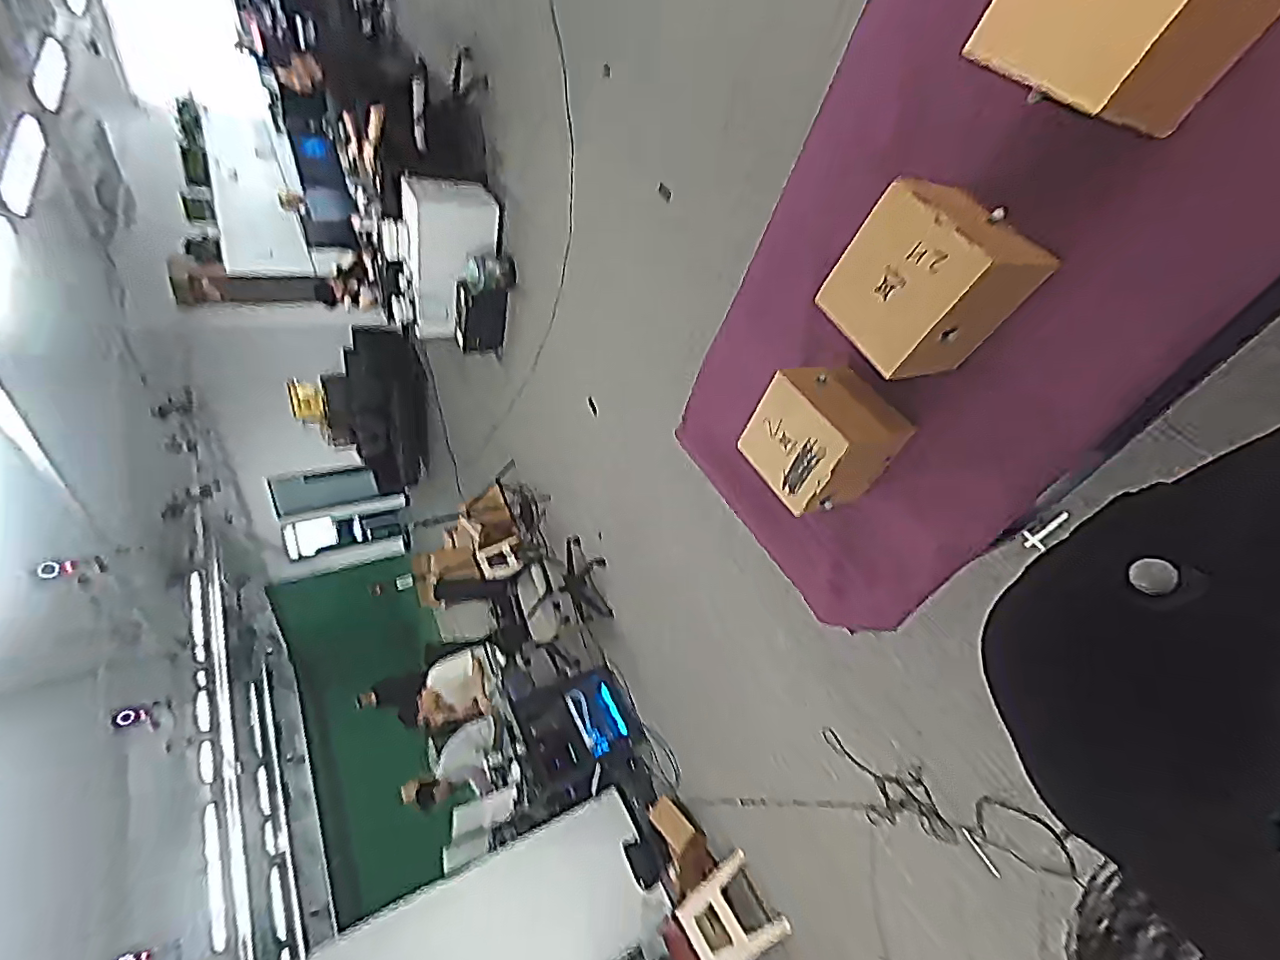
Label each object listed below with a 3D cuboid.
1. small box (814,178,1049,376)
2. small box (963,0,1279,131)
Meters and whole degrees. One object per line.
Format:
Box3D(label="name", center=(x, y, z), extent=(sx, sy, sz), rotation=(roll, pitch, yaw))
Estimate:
Box3D(label="small box", center=(0.375, -0.259, 0.709), extent=(0.168, 0.176, 0.179), rotation=(60, 145, 26))
Box3D(label="small box", center=(0.461, -0.456, 0.500), extent=(0.168, 0.176, 0.179), rotation=(59, 144, 30))
